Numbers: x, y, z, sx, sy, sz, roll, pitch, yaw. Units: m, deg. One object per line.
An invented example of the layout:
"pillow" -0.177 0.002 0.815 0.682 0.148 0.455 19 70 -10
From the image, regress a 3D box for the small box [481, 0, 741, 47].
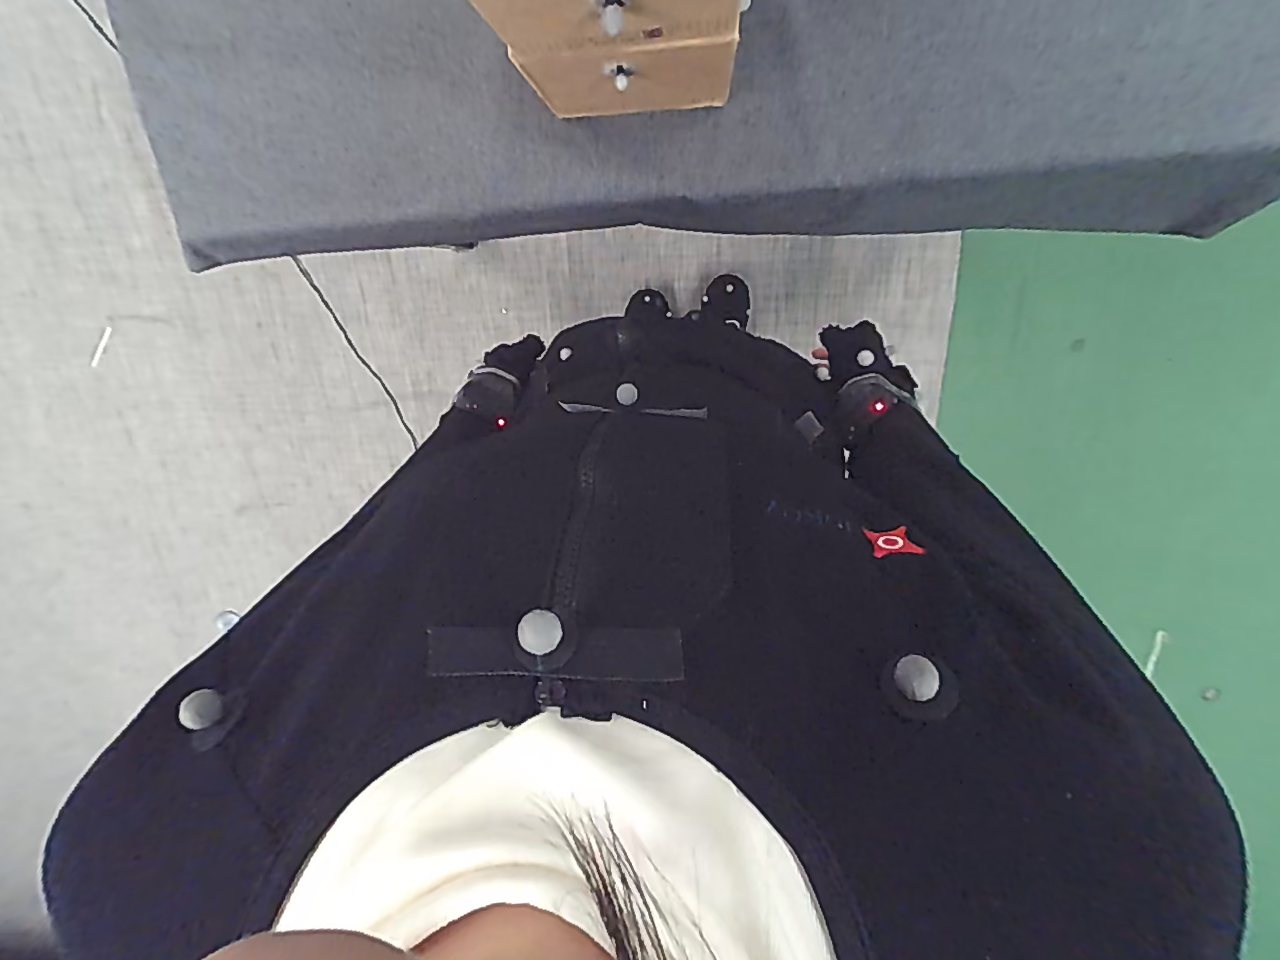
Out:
"small box" -0.023 -0.373 0.298 0.168 0.176 0.179 -2 111 7

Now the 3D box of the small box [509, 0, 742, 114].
"small box" -0.008 -0.426 0.451 0.179 0.176 0.168 -1 111 5
